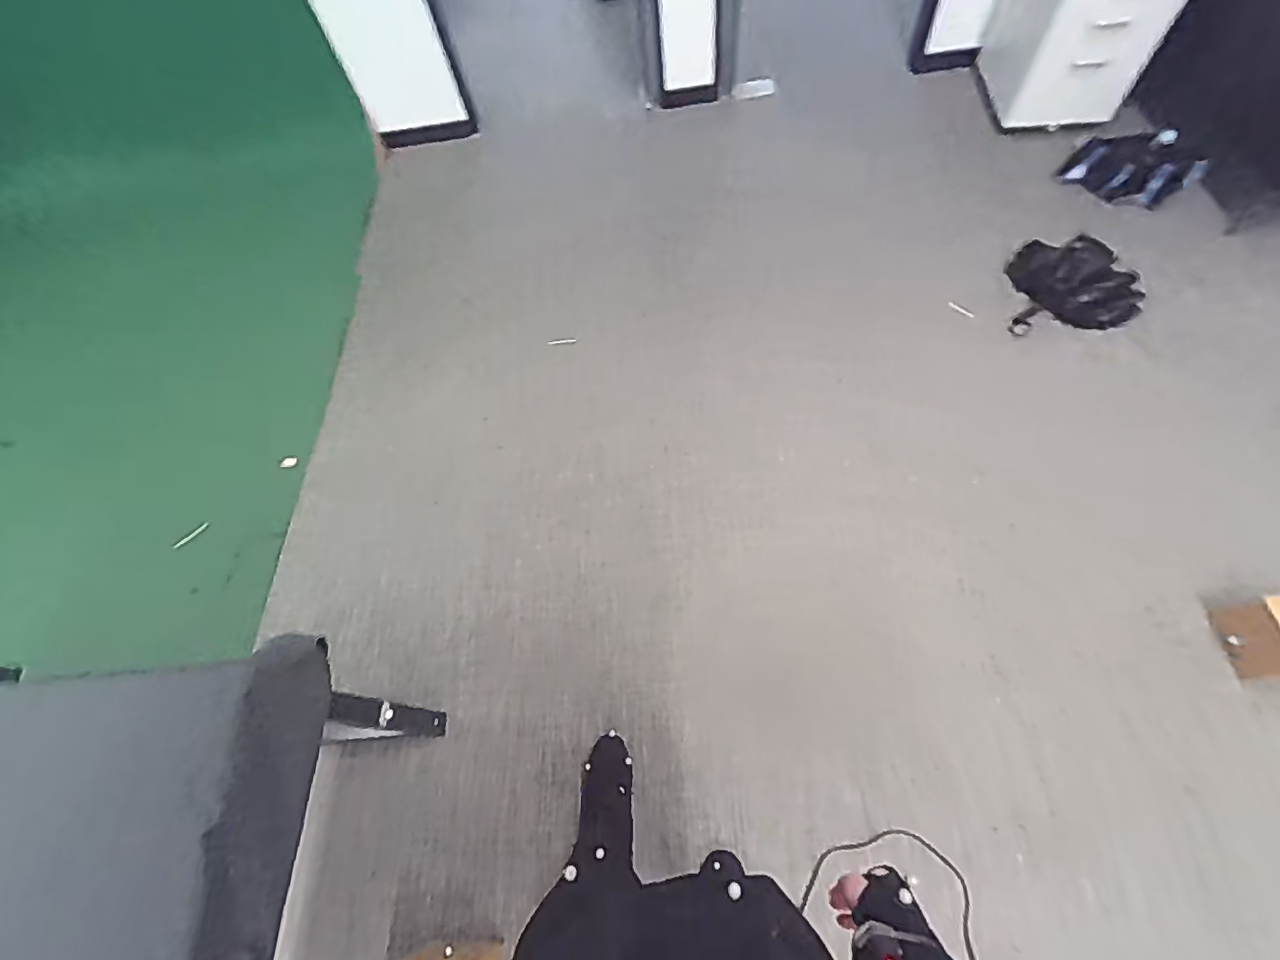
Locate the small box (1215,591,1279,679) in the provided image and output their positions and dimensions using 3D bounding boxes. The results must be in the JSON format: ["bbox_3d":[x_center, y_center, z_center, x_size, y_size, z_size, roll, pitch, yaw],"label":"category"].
[{"bbox_3d":[1.490,0.351,1.219,0.179,0.176,0.168,-4,61,6],"label":"small box"}]

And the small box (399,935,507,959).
[{"bbox_3d":[-0.386,1.055,1.103,0.179,0.176,0.168,-4,60,7],"label":"small box"}]
